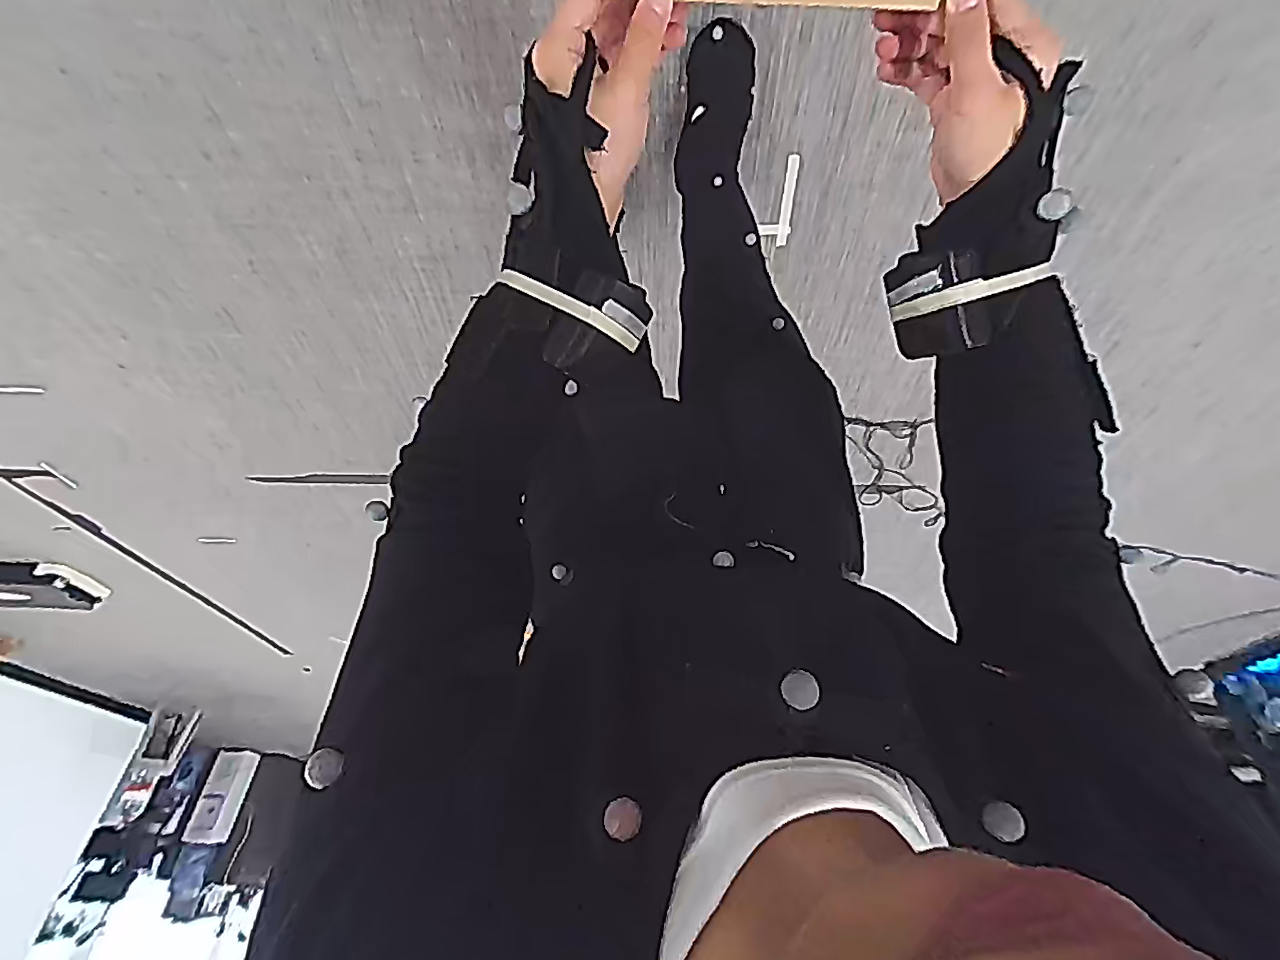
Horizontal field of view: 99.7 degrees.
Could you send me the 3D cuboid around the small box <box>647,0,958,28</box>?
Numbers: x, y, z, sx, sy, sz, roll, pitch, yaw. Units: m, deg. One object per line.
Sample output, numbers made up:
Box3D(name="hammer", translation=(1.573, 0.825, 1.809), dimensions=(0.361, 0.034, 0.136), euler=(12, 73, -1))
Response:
Box3D(name="small box", translation=(0.087, -0.361, 0.270), dimensions=(0.168, 0.176, 0.179), euler=(0, 141, -3))
